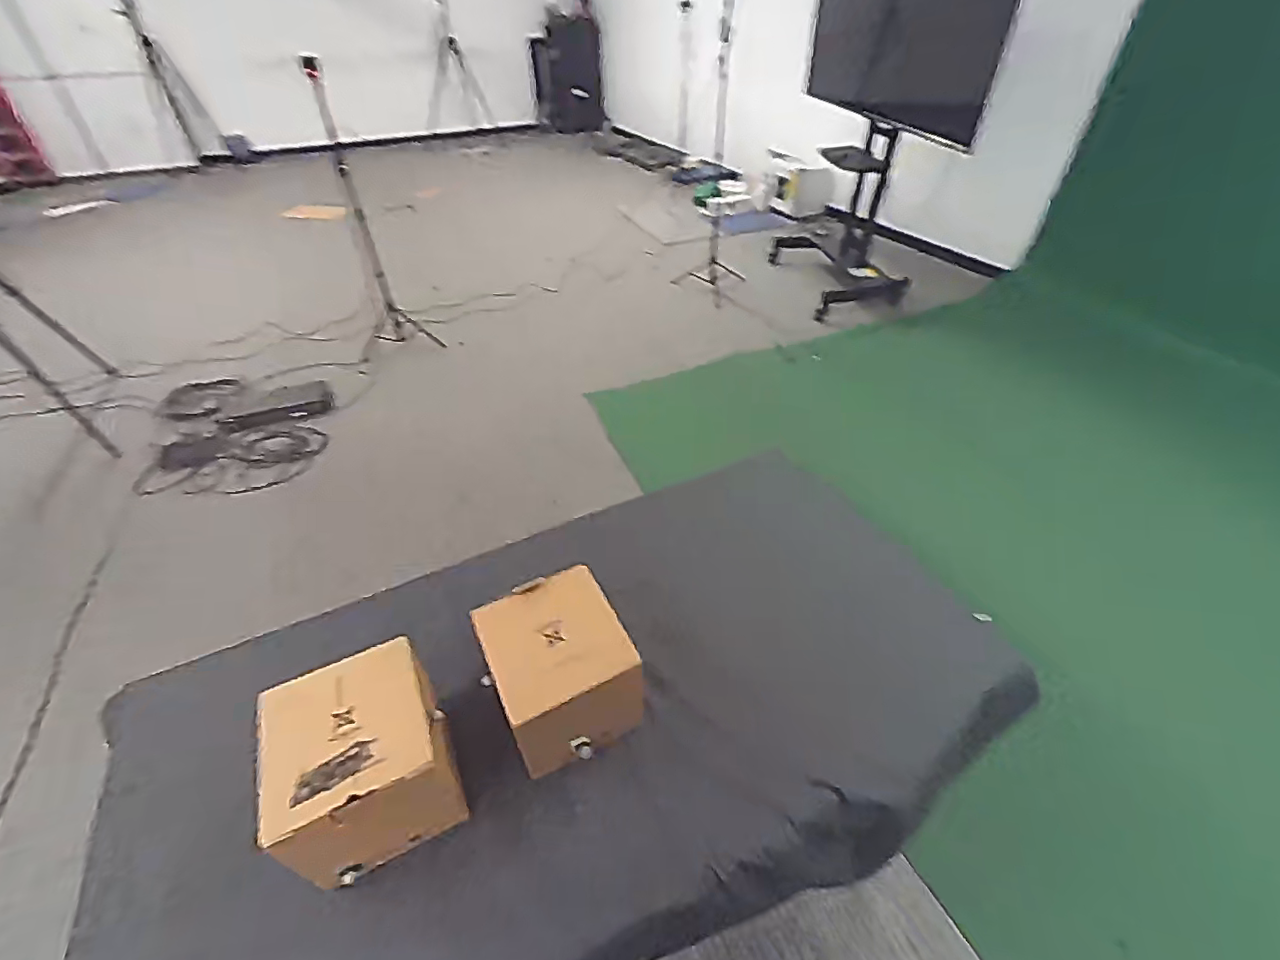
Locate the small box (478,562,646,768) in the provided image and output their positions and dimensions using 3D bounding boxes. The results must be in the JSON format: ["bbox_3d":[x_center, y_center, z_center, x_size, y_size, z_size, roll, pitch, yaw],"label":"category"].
[{"bbox_3d":[-0.104,0.251,0.740,0.168,0.176,0.179,-23,48,-20],"label":"small box"}]

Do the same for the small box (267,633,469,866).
[{"bbox_3d":[-0.321,0.328,0.653,0.168,0.176,0.179,-20,44,-20],"label":"small box"}]
